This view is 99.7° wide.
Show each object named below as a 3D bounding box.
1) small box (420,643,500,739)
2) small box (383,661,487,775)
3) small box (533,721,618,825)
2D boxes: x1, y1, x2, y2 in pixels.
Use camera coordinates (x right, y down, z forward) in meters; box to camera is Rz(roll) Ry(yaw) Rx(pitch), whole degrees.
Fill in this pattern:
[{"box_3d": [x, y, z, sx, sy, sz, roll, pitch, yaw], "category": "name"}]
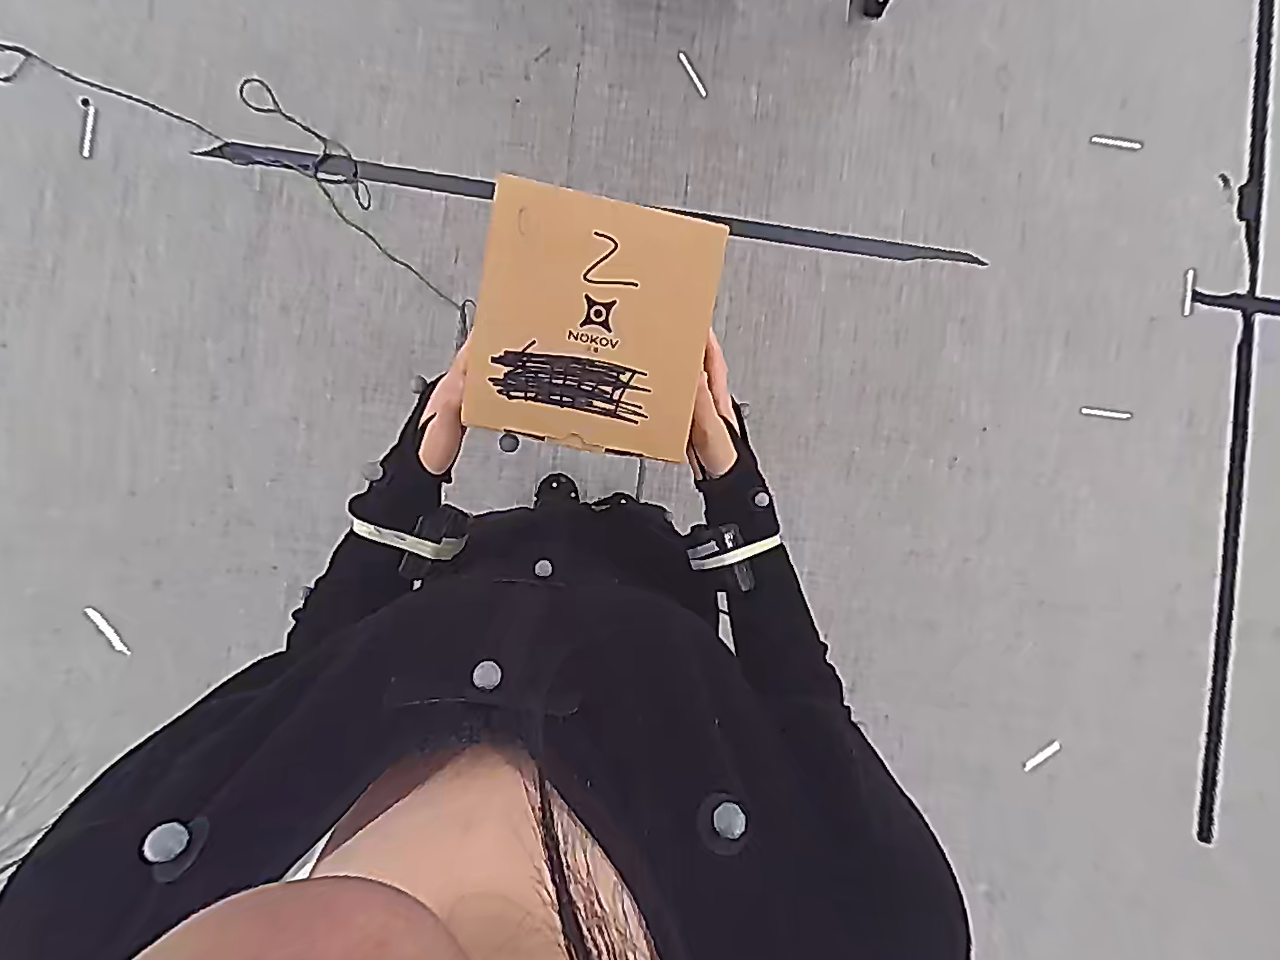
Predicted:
[{"box_3d": [-0.462, 0.534, 1.384, 0.168, 0.176, 0.179, 5, 88, -4], "category": "small box"}, {"box_3d": [-0.454, 0.530, 1.221, 0.168, 0.176, 0.179, 9, 88, -3], "category": "small box"}, {"box_3d": [-0.164, 0.748, 1.397, 0.179, 0.176, 0.168, 14, 88, -5], "category": "small box"}]
